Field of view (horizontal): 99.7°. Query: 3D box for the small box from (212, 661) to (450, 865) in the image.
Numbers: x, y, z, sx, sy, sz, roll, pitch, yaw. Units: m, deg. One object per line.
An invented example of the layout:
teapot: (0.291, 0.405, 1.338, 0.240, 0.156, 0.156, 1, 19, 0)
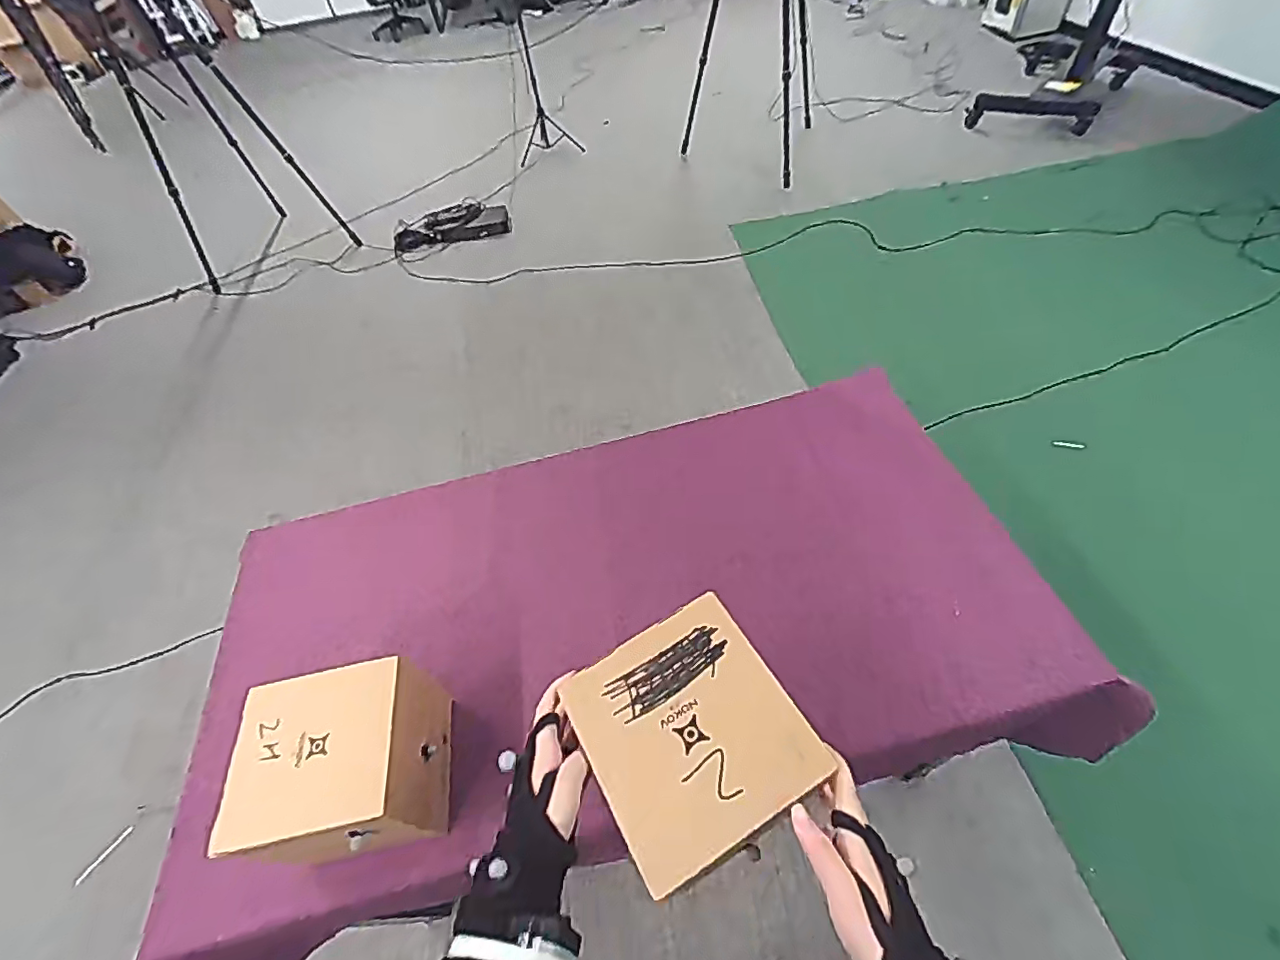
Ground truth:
small box: (-0.339, 0.338, 0.641, 0.179, 0.176, 0.168, -13, 51, -1)
